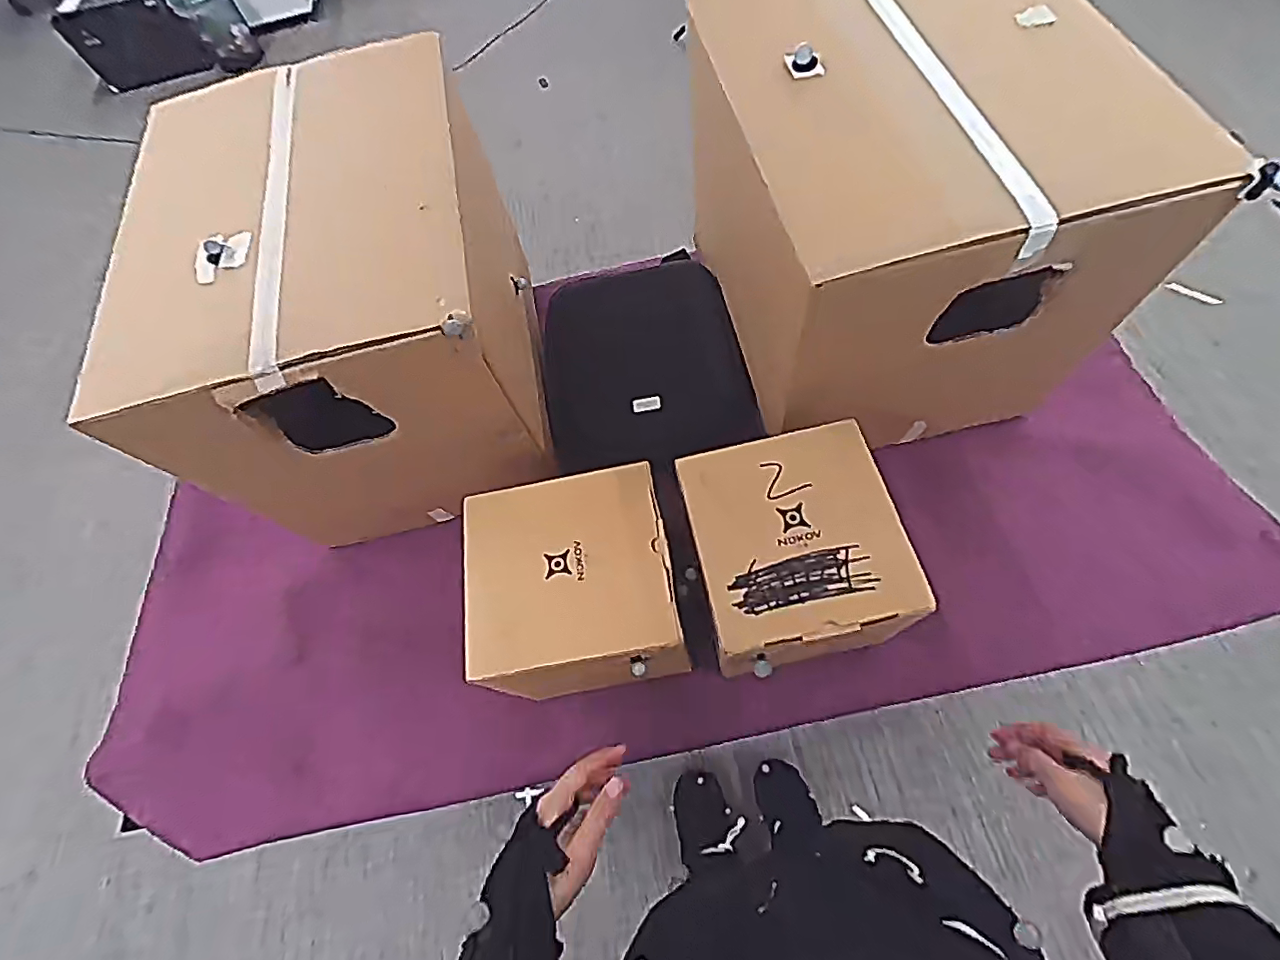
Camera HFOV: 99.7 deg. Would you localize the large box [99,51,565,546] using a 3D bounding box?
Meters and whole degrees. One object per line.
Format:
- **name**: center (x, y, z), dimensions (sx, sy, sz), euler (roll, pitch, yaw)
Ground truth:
- **large box**: center (-0.298, -0.184, 0.626), dimensions (0.320, 0.320, 0.408), euler (-15, 66, 1)
